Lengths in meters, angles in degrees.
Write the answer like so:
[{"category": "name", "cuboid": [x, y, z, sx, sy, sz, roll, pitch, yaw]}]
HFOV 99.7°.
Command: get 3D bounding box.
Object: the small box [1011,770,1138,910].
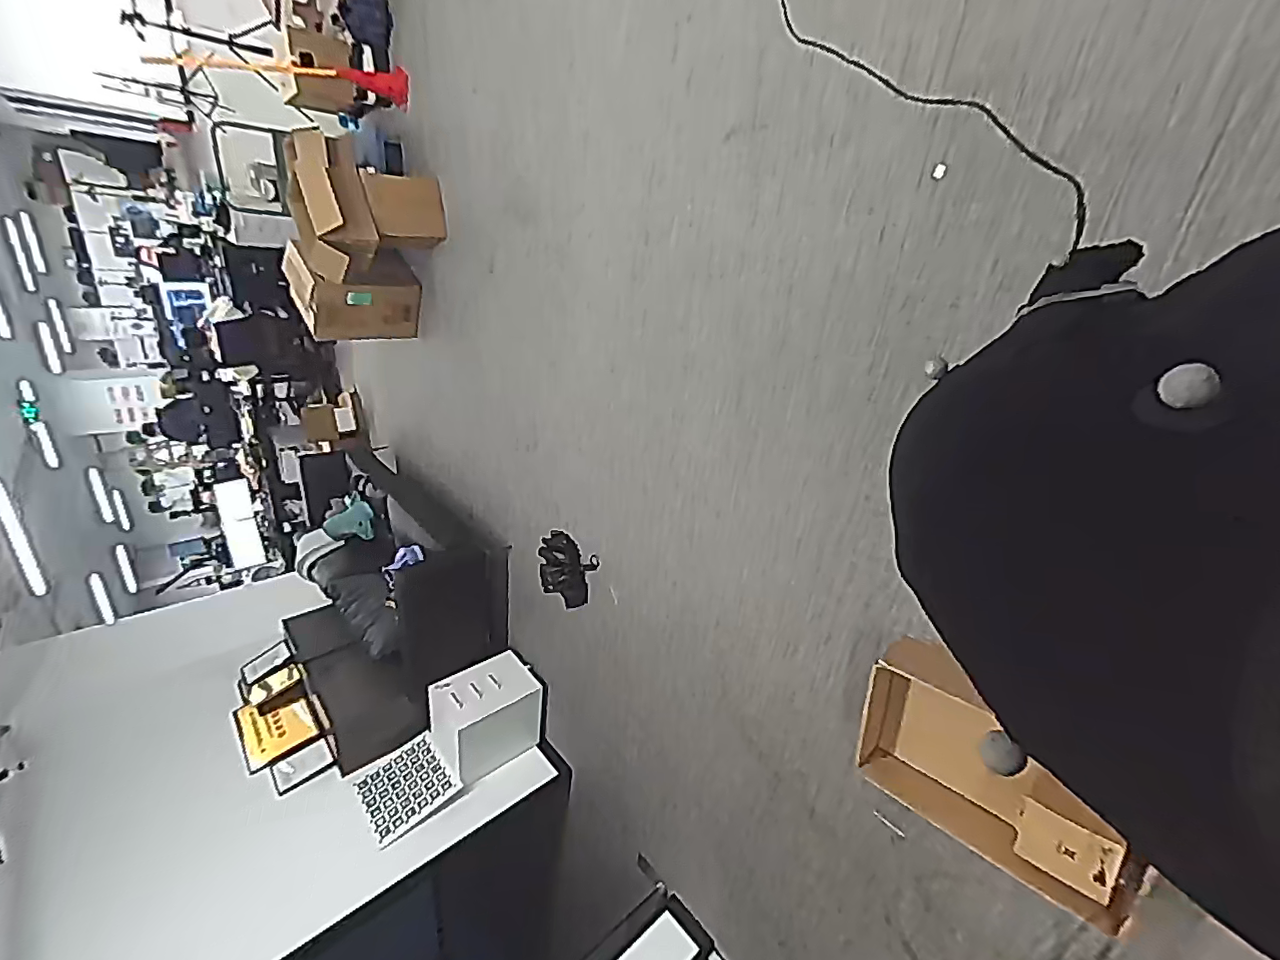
[{"category": "small box", "cuboid": [0.988, 0.802, 1.232, 0.179, 0.176, 0.168, 18, 116, 47]}]
